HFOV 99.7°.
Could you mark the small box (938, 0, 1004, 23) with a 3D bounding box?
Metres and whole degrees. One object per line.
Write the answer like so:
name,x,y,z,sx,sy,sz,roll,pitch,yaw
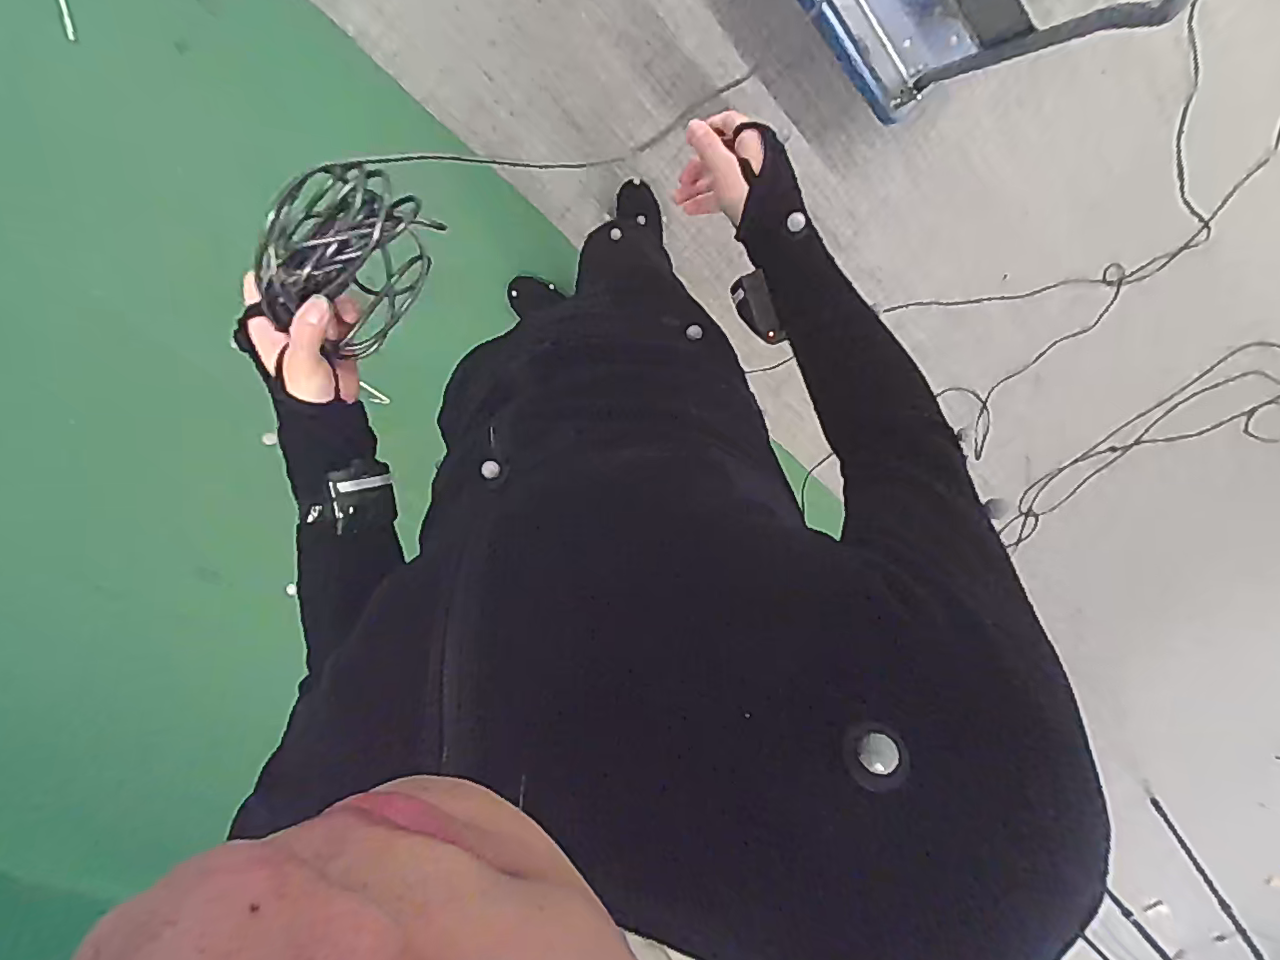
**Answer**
small box,0.685,-1.043,1.035,0.179,0.176,0.168,-43,113,12
